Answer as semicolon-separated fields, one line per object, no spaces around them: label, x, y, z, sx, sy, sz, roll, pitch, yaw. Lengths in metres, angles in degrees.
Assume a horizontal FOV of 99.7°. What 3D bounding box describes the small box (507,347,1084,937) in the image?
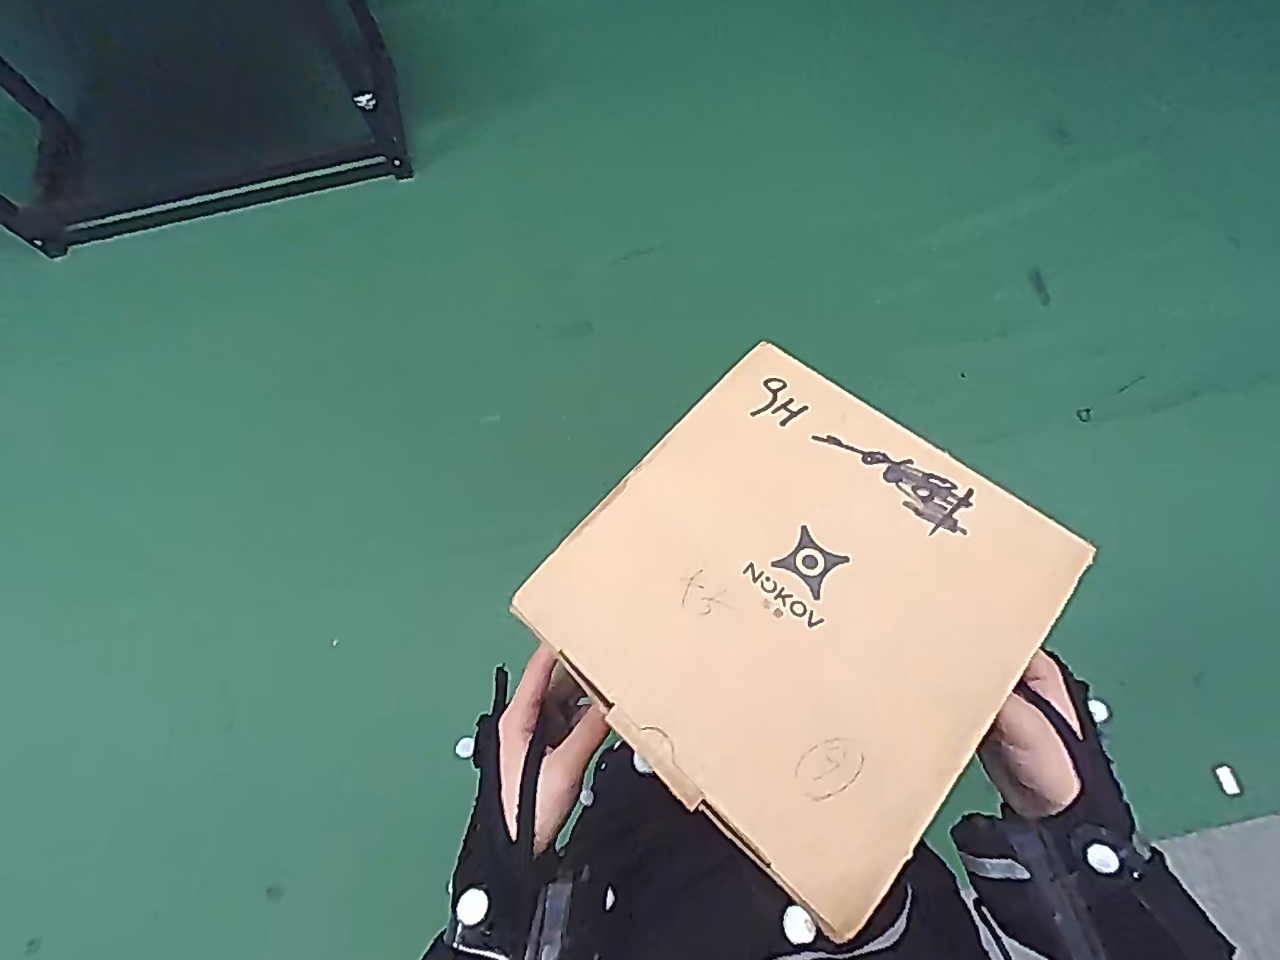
small box;0.067;0.073;0.292;0.168;0.176;0.179;39;76;20
